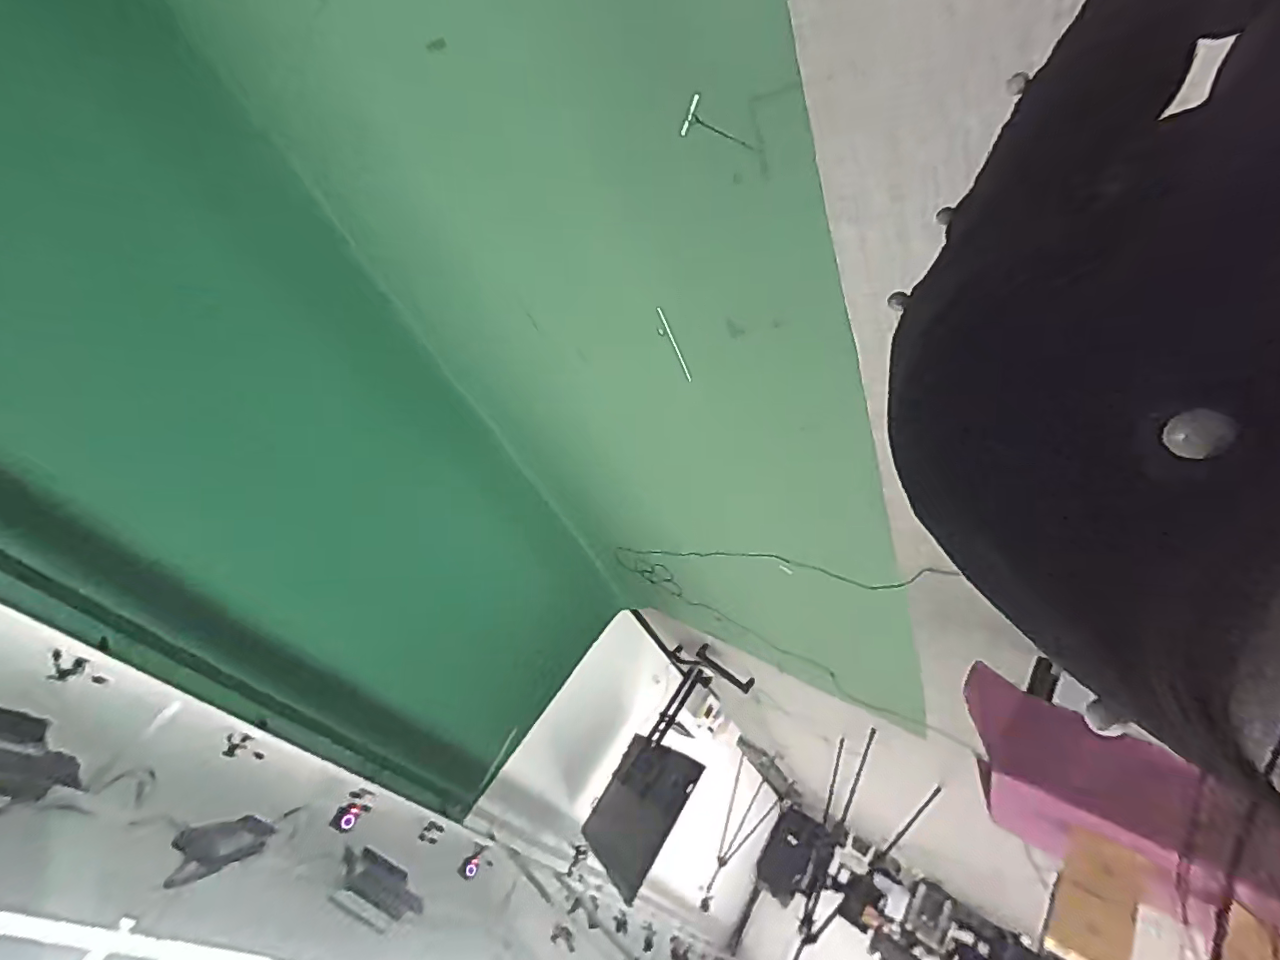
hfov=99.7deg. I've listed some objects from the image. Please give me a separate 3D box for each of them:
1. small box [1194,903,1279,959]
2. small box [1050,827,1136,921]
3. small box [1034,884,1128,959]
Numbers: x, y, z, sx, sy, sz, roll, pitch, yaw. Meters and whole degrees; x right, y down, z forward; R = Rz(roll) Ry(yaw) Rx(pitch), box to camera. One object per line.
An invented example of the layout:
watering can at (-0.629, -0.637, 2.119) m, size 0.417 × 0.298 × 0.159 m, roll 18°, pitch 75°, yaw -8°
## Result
small box at (1.601, 1.262, 1.415) m, size 0.179 × 0.176 × 0.168 m, roll 17°, pitch 147°, yaw 42°
small box at (1.362, 1.194, 1.628) m, size 0.179 × 0.176 × 0.168 m, roll 12°, pitch 144°, yaw 44°
small box at (1.266, 1.307, 1.557) m, size 0.179 × 0.176 × 0.168 m, roll 14°, pitch 145°, yaw 43°
